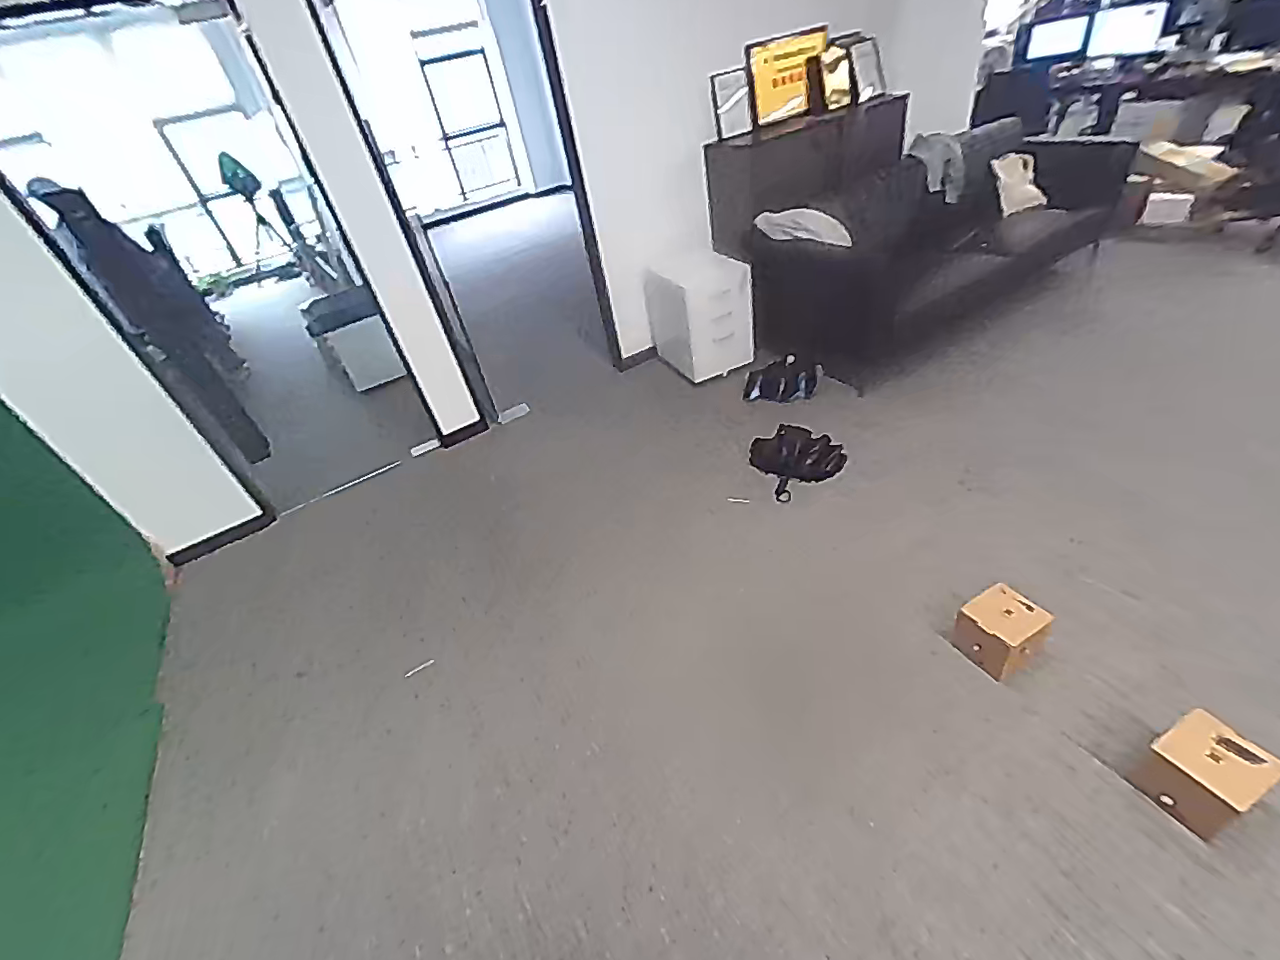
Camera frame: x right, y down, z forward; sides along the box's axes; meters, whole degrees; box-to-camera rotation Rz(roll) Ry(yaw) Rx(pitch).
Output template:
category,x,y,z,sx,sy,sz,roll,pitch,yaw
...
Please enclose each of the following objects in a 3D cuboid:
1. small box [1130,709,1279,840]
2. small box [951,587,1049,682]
category,x,y,z,sx,sy,sz,roll,pitch,yaw
small box,1.280,0.671,1.236,0.179,0.176,0.168,-27,37,-15
small box,1.051,0.457,1.595,0.179,0.176,0.168,-26,38,-16
